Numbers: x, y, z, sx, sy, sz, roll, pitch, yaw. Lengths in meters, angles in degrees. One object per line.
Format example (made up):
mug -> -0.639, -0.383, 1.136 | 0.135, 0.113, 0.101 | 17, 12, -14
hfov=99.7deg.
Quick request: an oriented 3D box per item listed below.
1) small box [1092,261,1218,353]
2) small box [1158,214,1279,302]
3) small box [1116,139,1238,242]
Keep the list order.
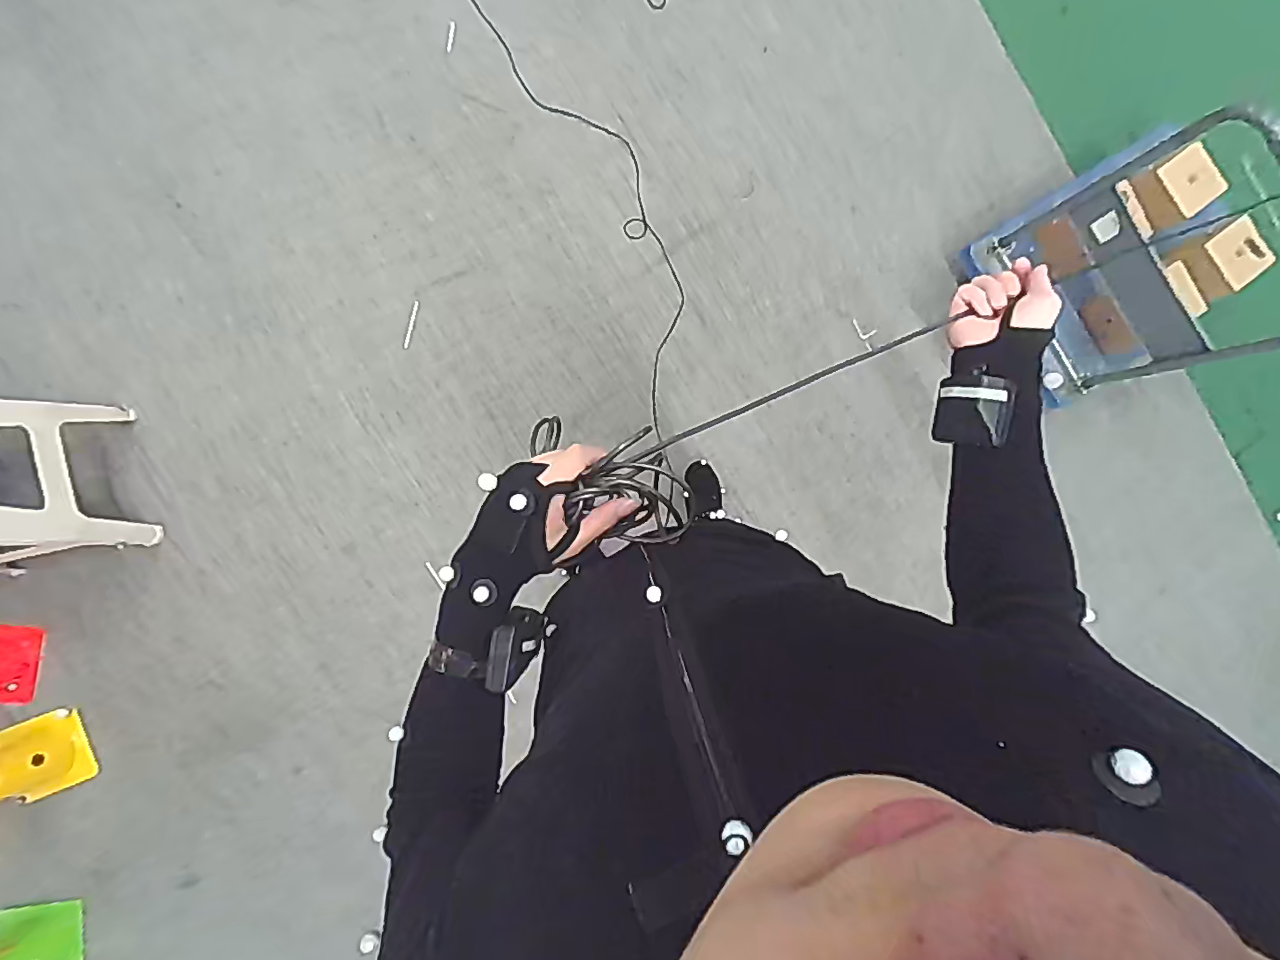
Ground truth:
small box -> 1.479, -0.493, 1.564 | 0.179, 0.176, 0.168 | -31, 91, -6
small box -> 1.707, -0.635, 1.595 | 0.179, 0.176, 0.168 | -36, 91, -6
small box -> 1.560, -0.839, 1.588 | 0.179, 0.176, 0.168 | -36, 92, -7
